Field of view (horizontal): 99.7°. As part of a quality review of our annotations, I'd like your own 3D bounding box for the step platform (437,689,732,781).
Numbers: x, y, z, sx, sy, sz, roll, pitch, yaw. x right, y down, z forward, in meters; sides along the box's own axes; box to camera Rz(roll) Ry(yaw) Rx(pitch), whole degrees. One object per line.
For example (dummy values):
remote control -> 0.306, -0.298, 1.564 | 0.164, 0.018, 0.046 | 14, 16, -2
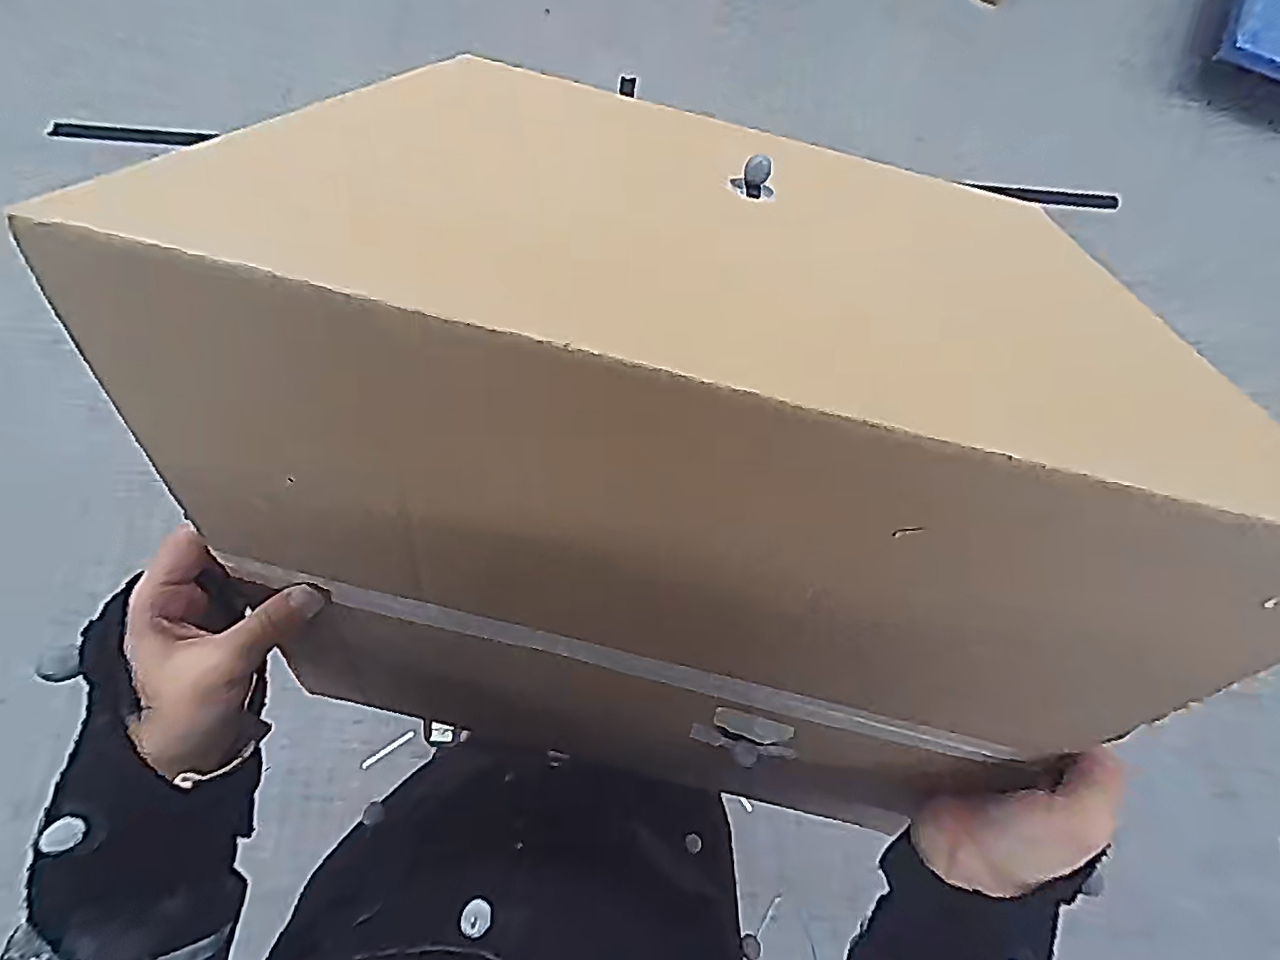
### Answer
step platform -> -0.109, 0.479, 1.265 | 0.684, 0.204, 0.286 | 11, 77, 0
